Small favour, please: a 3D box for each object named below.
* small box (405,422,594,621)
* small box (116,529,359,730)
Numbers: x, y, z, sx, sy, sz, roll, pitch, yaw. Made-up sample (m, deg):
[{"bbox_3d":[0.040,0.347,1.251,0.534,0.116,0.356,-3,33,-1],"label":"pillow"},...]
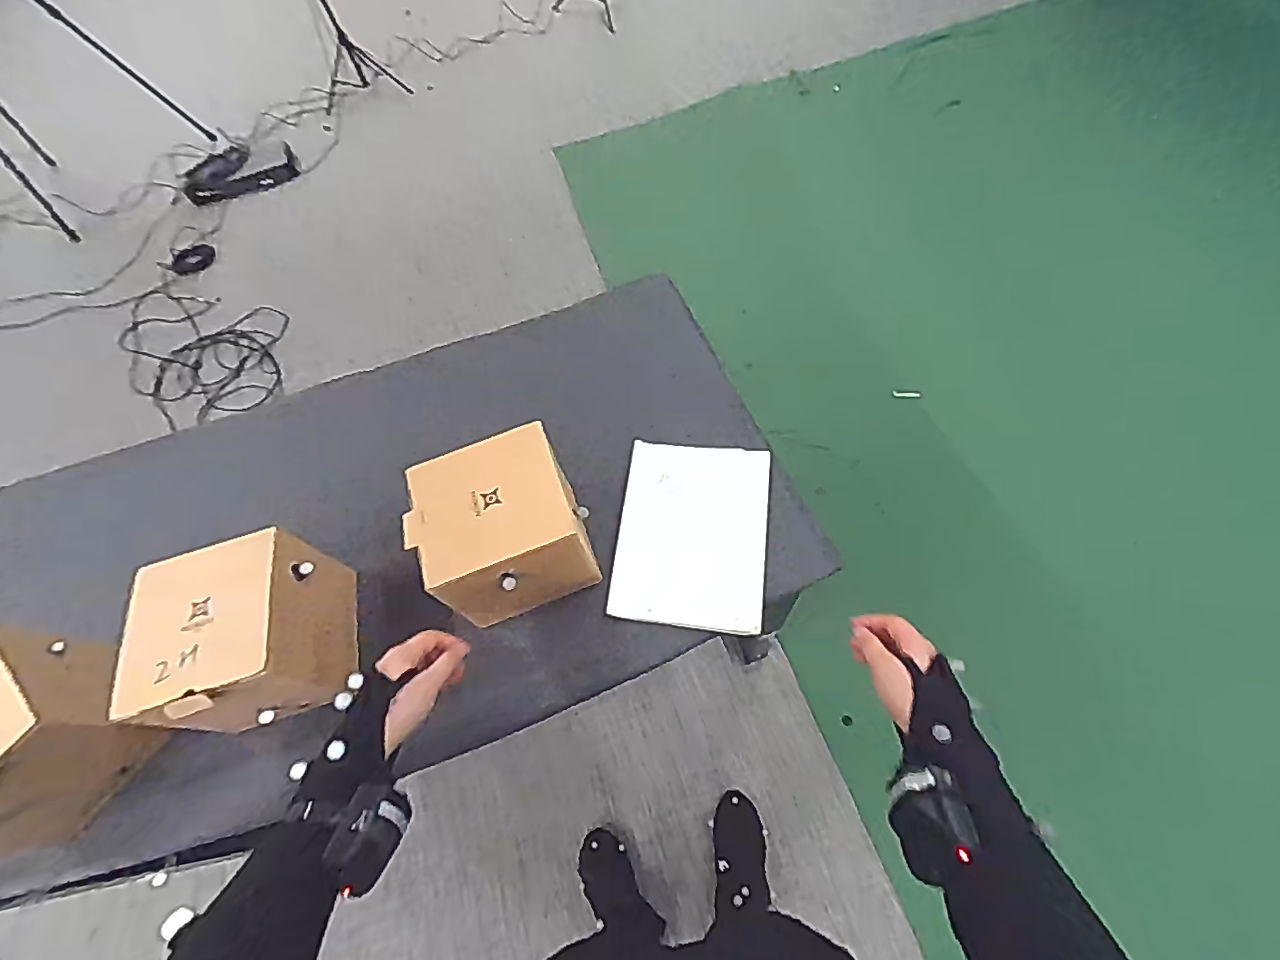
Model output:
[{"bbox_3d":[-0.167,0.060,0.692,0.179,0.176,0.168,-22,61,-3],"label":"small box"},{"bbox_3d":[-0.471,0.190,0.665,0.168,0.176,0.179,-19,61,-1],"label":"small box"}]
